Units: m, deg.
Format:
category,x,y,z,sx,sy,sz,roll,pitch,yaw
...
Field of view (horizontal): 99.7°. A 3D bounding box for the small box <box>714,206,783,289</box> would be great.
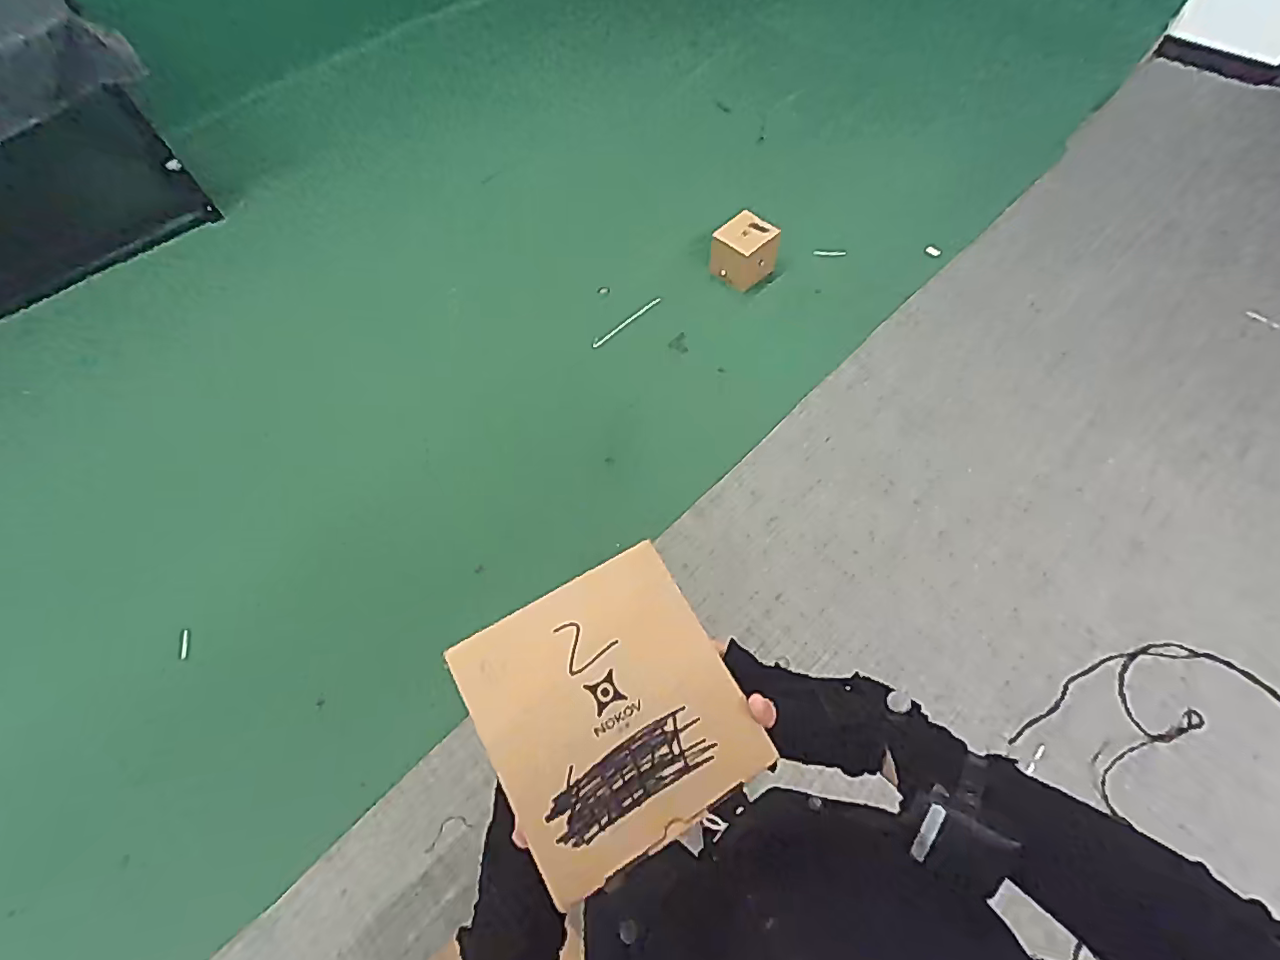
category,x,y,z,sx,sy,sz,roll,pitch,yaw
small box,0.376,-0.820,1.914,0.179,0.176,0.168,-41,67,-16
